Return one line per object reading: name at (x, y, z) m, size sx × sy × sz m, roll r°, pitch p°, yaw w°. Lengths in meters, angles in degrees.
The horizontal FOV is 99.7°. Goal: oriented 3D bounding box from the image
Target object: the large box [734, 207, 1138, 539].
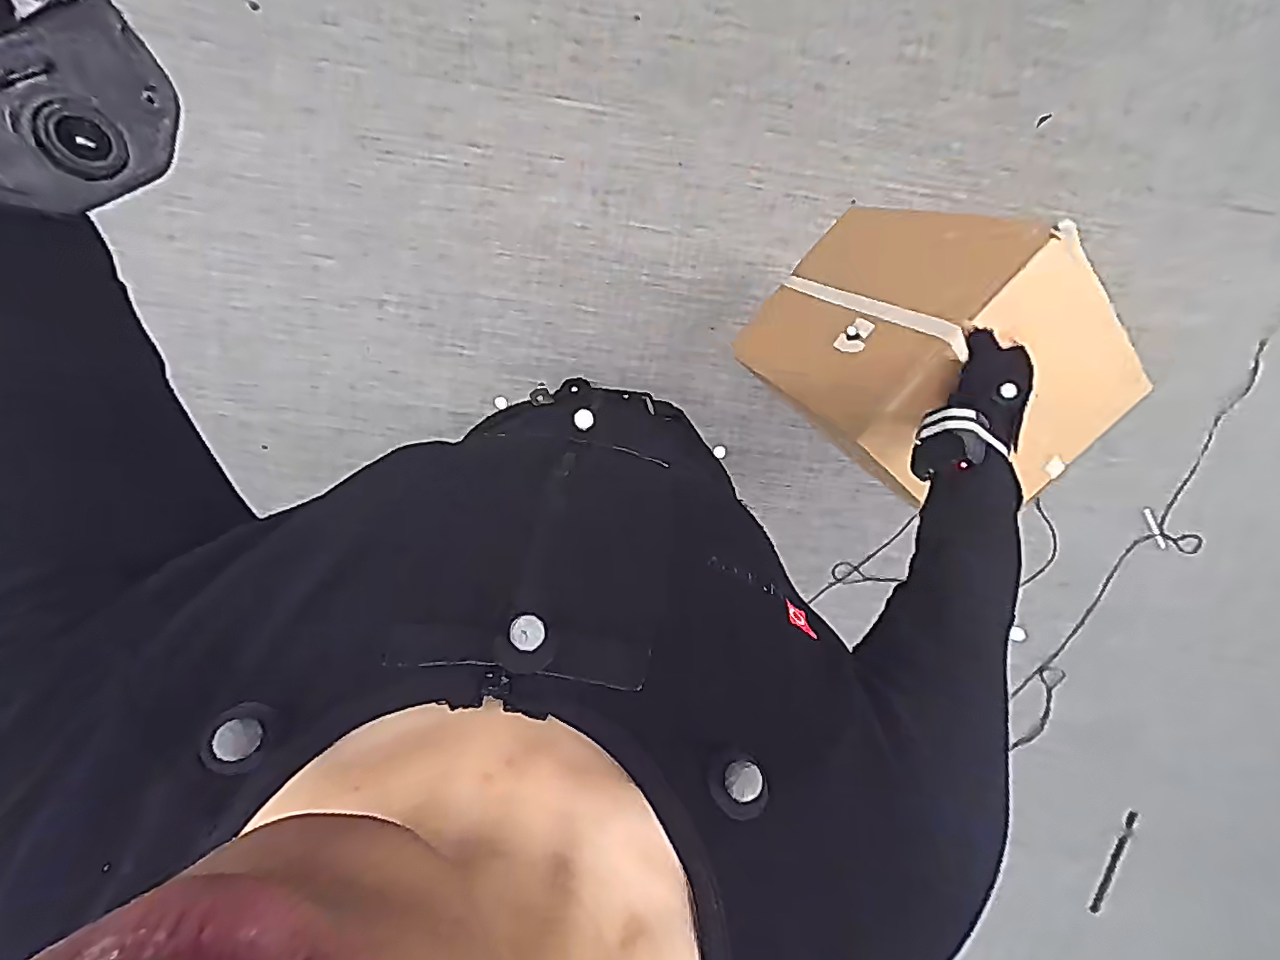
large box at (0.424, -0.183, 0.850) m, size 0.320 × 0.408 × 0.320 m, roll 33°, pitch 105°, yaw -31°
